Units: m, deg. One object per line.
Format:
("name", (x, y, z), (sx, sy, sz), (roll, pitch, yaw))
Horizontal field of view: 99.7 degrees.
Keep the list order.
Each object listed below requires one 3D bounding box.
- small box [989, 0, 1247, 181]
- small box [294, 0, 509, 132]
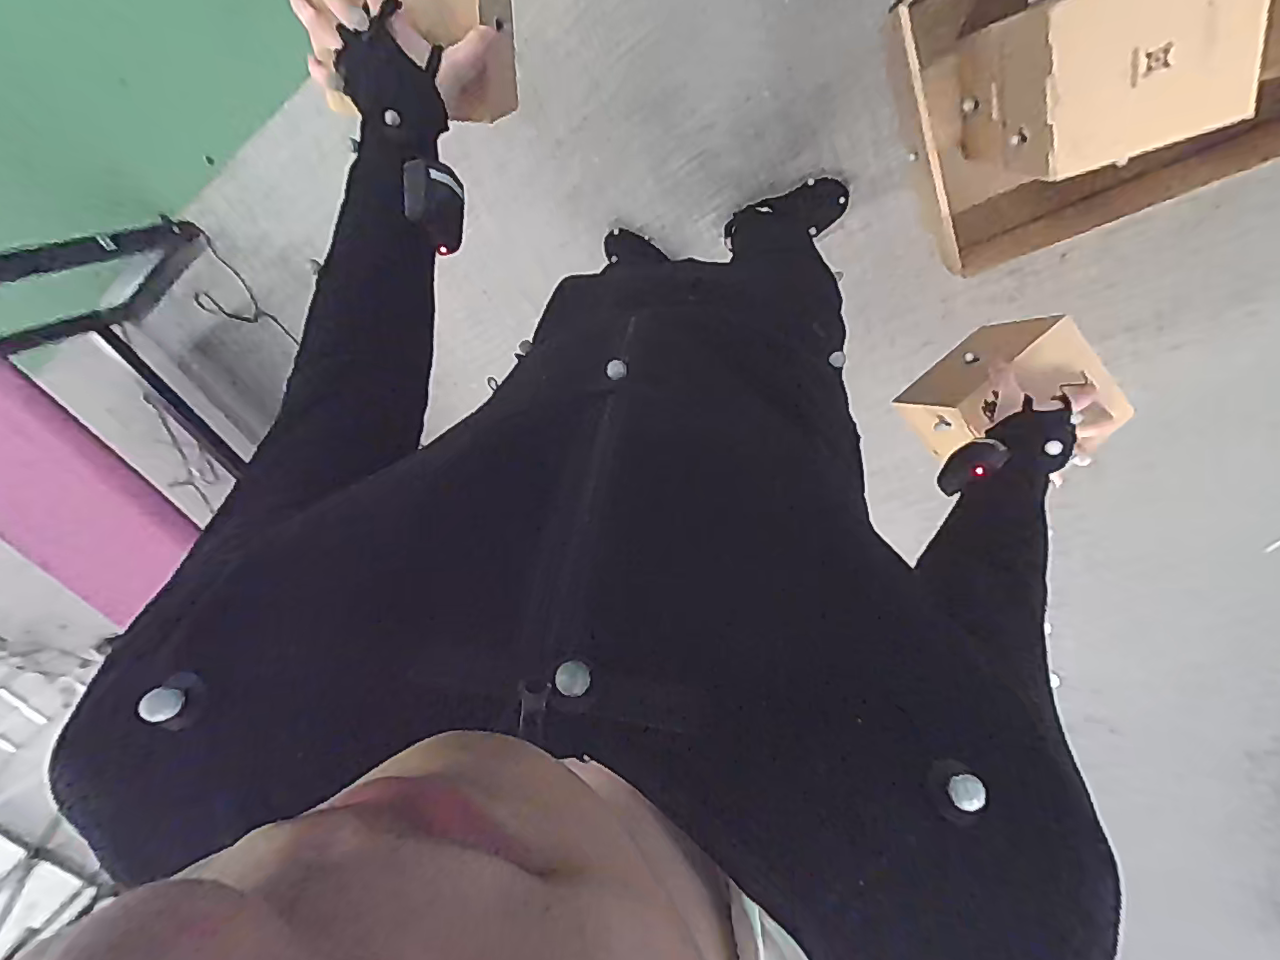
("small box", (0.521, -0.465, 0.619), (0.179, 0.176, 0.168), (-12, 120, 19))
("small box", (-0.240, -0.482, 0.570), (0.168, 0.176, 0.179), (2, 129, -2))
